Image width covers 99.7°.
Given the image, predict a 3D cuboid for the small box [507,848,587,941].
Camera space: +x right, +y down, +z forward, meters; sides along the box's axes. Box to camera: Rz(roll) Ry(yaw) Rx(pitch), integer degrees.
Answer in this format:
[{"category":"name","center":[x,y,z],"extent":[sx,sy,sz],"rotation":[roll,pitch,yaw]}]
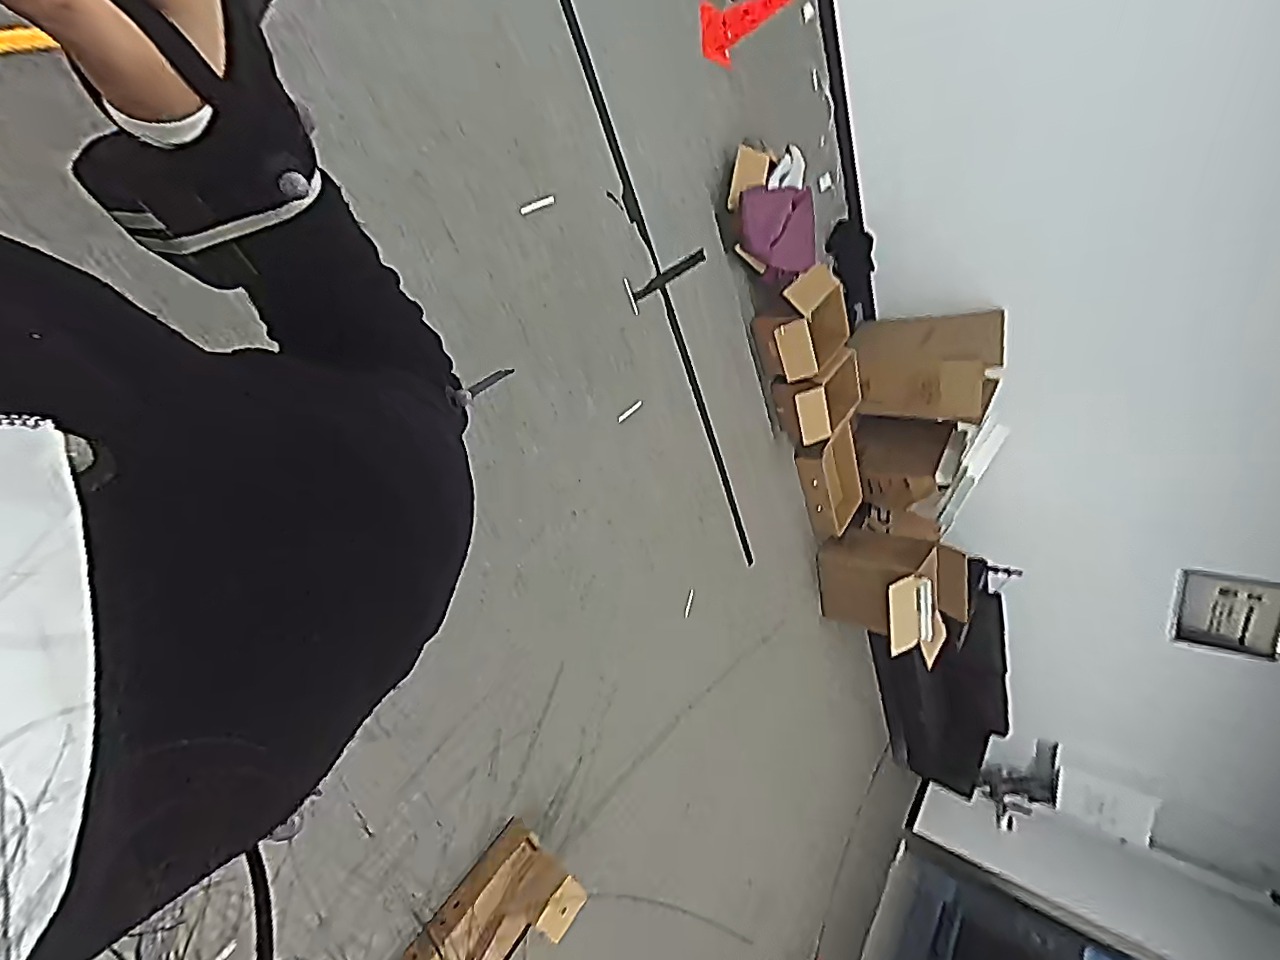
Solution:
[{"category":"small box","center":[-0.320,1.414,1.856],"extent":[0.168,0.176,0.179],"rotation":[-45,126,-33]}]
